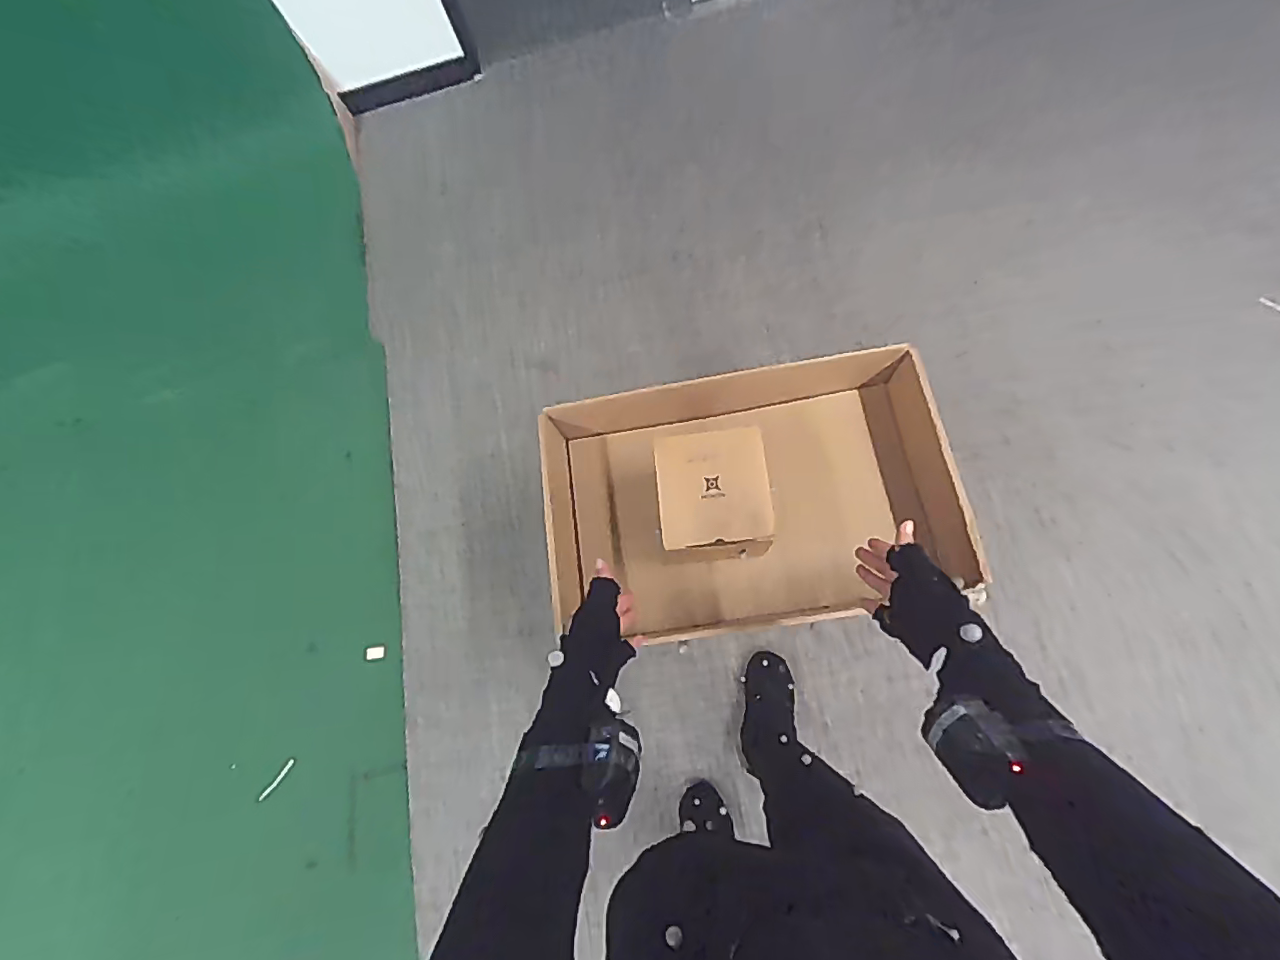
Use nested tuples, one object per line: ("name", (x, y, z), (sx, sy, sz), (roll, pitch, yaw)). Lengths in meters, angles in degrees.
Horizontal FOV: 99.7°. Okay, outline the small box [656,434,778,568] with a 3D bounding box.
("small box", (0.121, 0.044, 0.879), (0.168, 0.176, 0.179), (-7, 71, 4))
